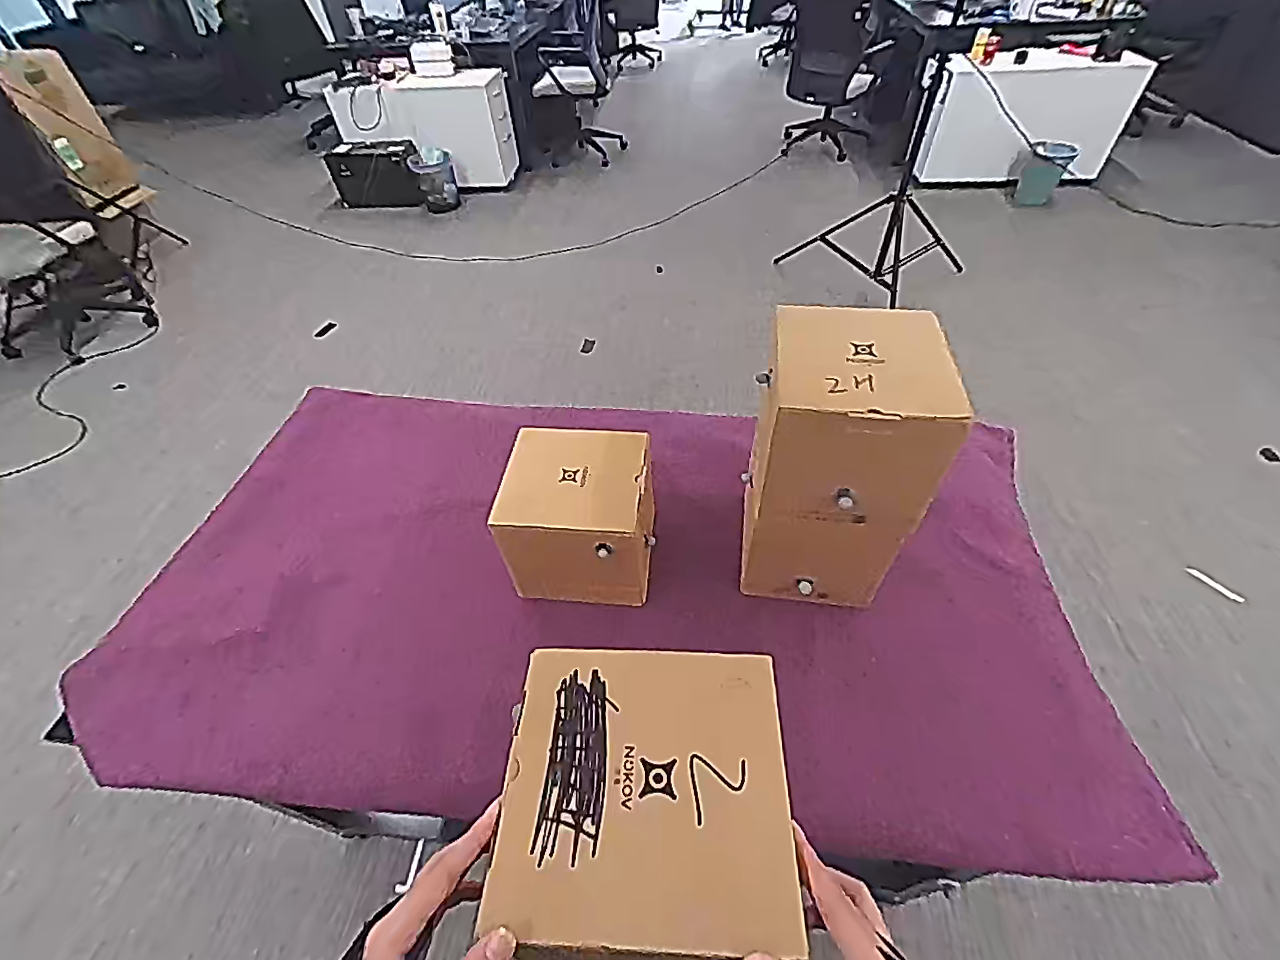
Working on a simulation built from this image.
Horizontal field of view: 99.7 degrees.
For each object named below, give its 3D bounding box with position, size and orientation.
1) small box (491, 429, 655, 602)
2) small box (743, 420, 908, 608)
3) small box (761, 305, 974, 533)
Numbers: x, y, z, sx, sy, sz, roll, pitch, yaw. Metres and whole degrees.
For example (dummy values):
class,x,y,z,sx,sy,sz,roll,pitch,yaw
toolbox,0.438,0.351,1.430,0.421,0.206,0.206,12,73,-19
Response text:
class,x,y,z,sx,sy,sz,roll,pitch,yaw
small box,-0.075,0.050,0.723,0.179,0.176,0.168,3,48,5
small box,0.228,0.042,0.709,0.168,0.176,0.179,5,49,8
small box,0.223,-0.067,0.586,0.168,0.176,0.179,4,49,9
